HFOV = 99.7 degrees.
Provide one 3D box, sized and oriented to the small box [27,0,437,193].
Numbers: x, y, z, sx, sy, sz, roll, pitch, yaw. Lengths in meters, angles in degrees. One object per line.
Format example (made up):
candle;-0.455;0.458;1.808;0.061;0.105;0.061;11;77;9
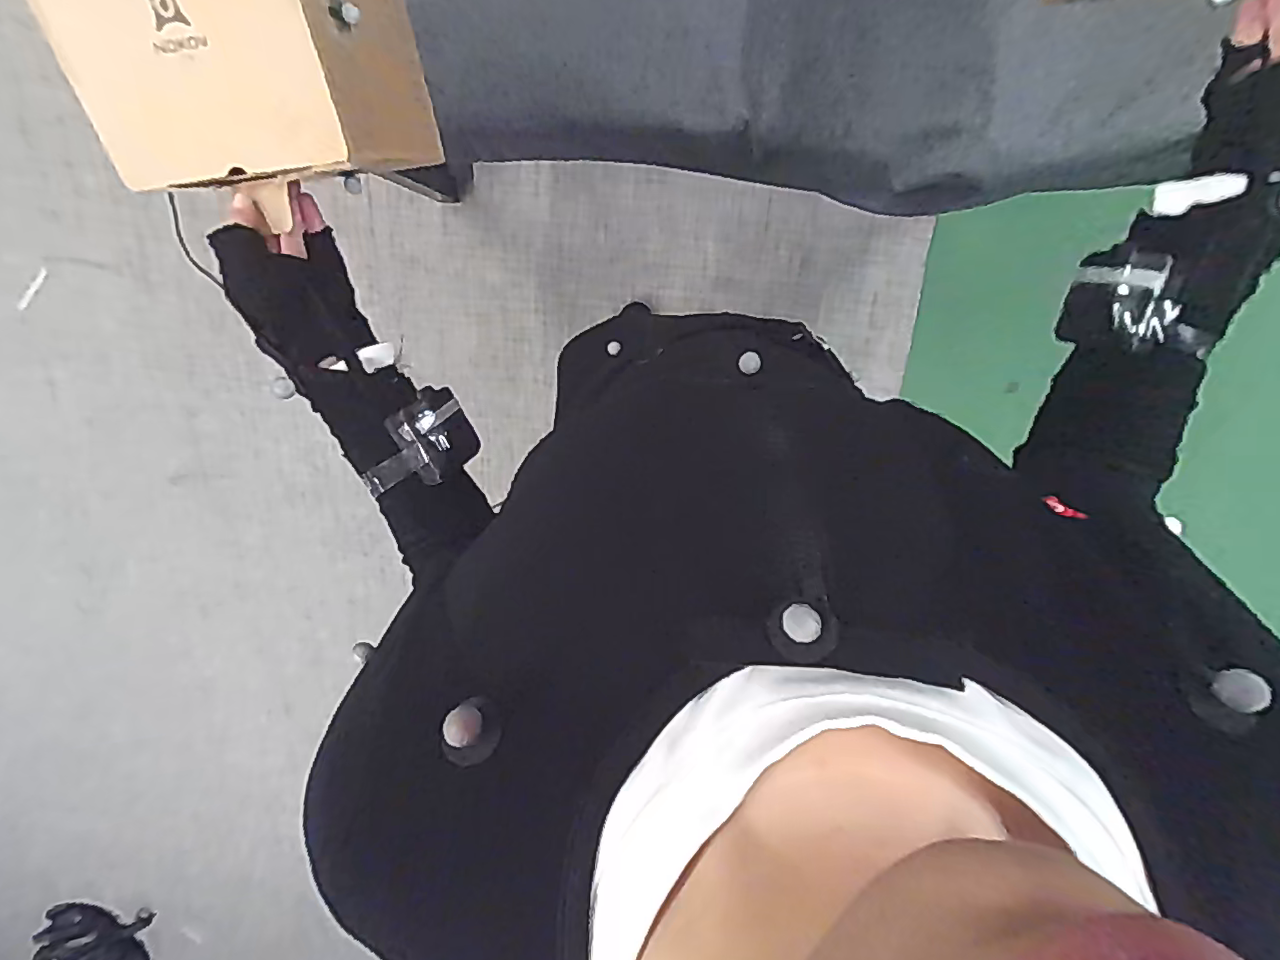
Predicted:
small box;-0.268;-0.314;0.381;0.168;0.176;0.179;-4;120;6
